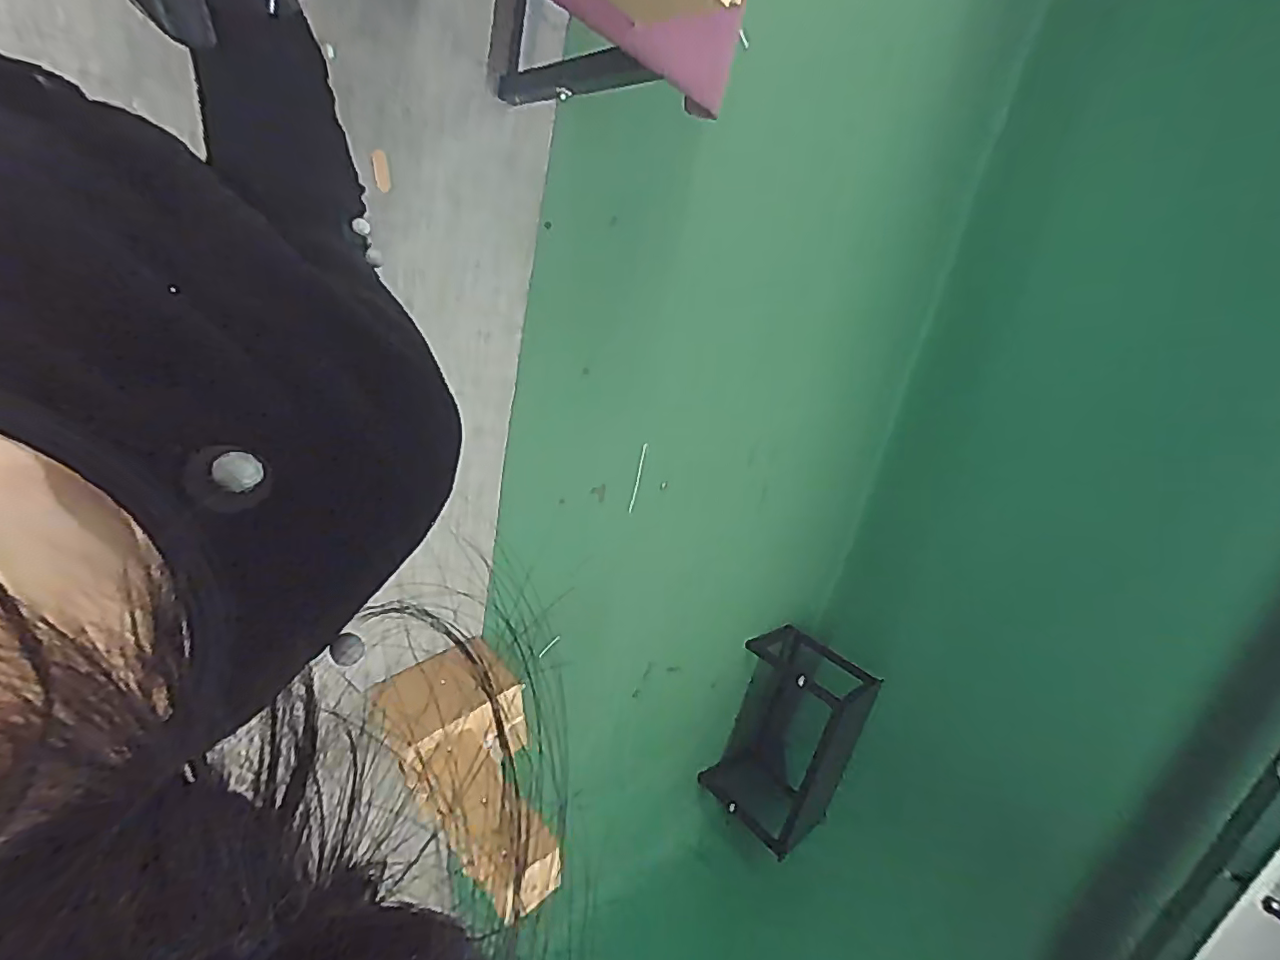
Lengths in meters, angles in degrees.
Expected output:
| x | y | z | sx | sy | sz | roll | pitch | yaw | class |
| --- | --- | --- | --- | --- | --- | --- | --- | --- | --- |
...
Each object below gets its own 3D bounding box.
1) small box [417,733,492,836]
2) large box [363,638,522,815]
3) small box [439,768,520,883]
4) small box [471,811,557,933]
| x | y | z | sx | sy | sz | roll | pitch | yaw | class |
| --- | --- | --- | --- | --- | --- | --- | --- | --- | --- |
| -0.567 | 0.919 | 1.648 | 0.179 | 0.176 | 0.168 | -16 | 122 | -40 | small box |
| -0.670 | 0.825 | 1.867 | 0.408 | 0.320 | 0.320 | -22 | 126 | -39 | large box |
| -0.457 | 0.976 | 1.540 | 0.179 | 0.176 | 0.168 | -22 | 125 | -39 | small box |
| -0.337 | 1.030 | 1.443 | 0.168 | 0.176 | 0.179 | -19 | 124 | -39 | small box |
